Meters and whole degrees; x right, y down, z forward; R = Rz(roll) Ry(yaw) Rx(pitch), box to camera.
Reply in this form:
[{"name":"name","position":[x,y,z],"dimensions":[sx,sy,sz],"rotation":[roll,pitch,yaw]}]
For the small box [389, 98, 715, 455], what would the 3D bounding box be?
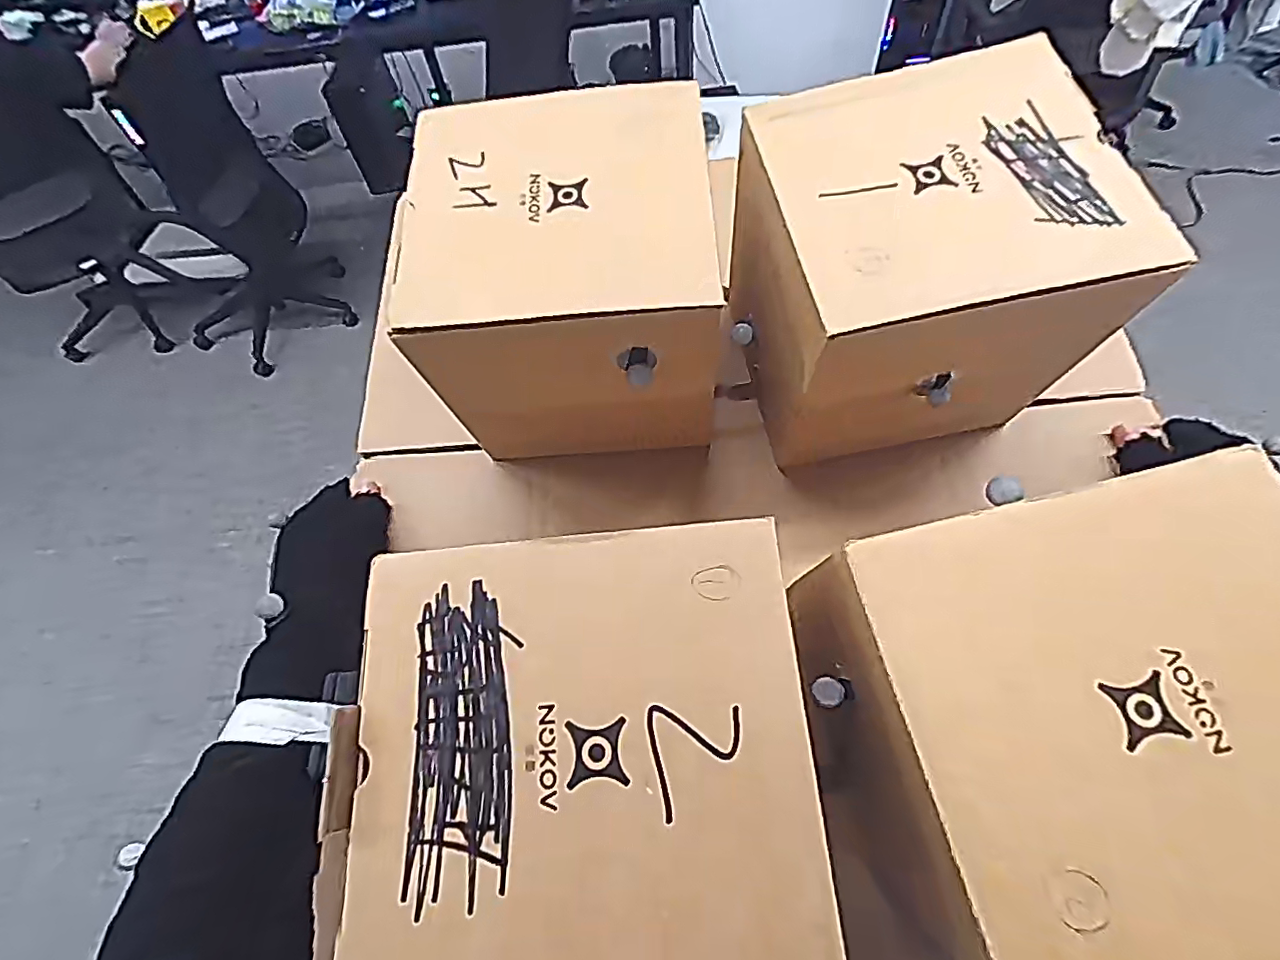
[{"name":"small box","position":[-0.043,-0.126,0.386],"dimensions":[0.179,0.176,0.168],"rotation":[-3,68,5]}]
